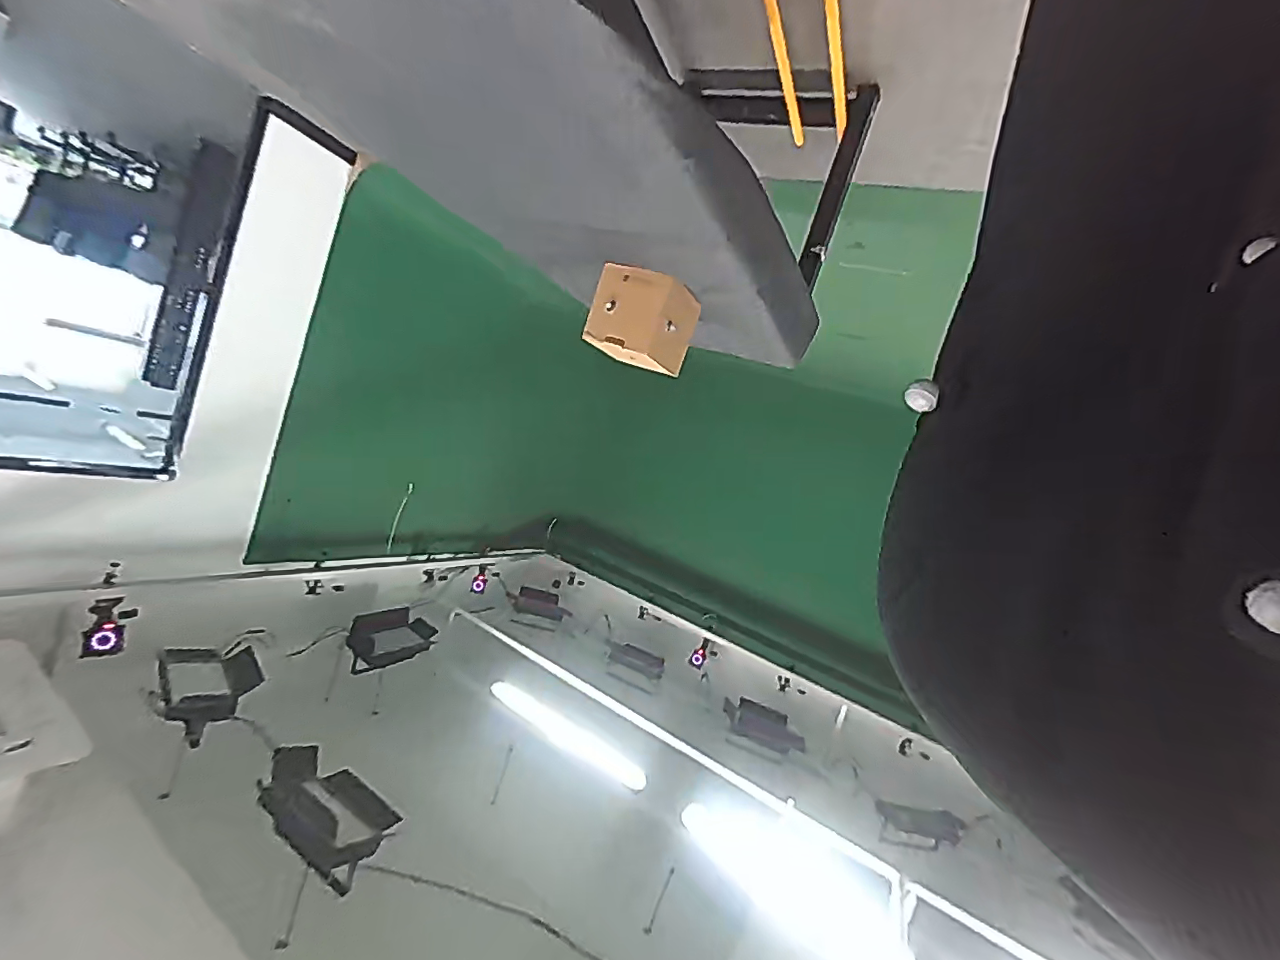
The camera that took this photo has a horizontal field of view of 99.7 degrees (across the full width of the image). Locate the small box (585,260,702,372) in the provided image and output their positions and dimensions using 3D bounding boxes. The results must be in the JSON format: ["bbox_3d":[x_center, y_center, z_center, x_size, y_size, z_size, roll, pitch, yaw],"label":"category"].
[{"bbox_3d":[0.012,-0.349,1.155,0.168,0.176,0.179,21,-174,24],"label":"small box"}]
